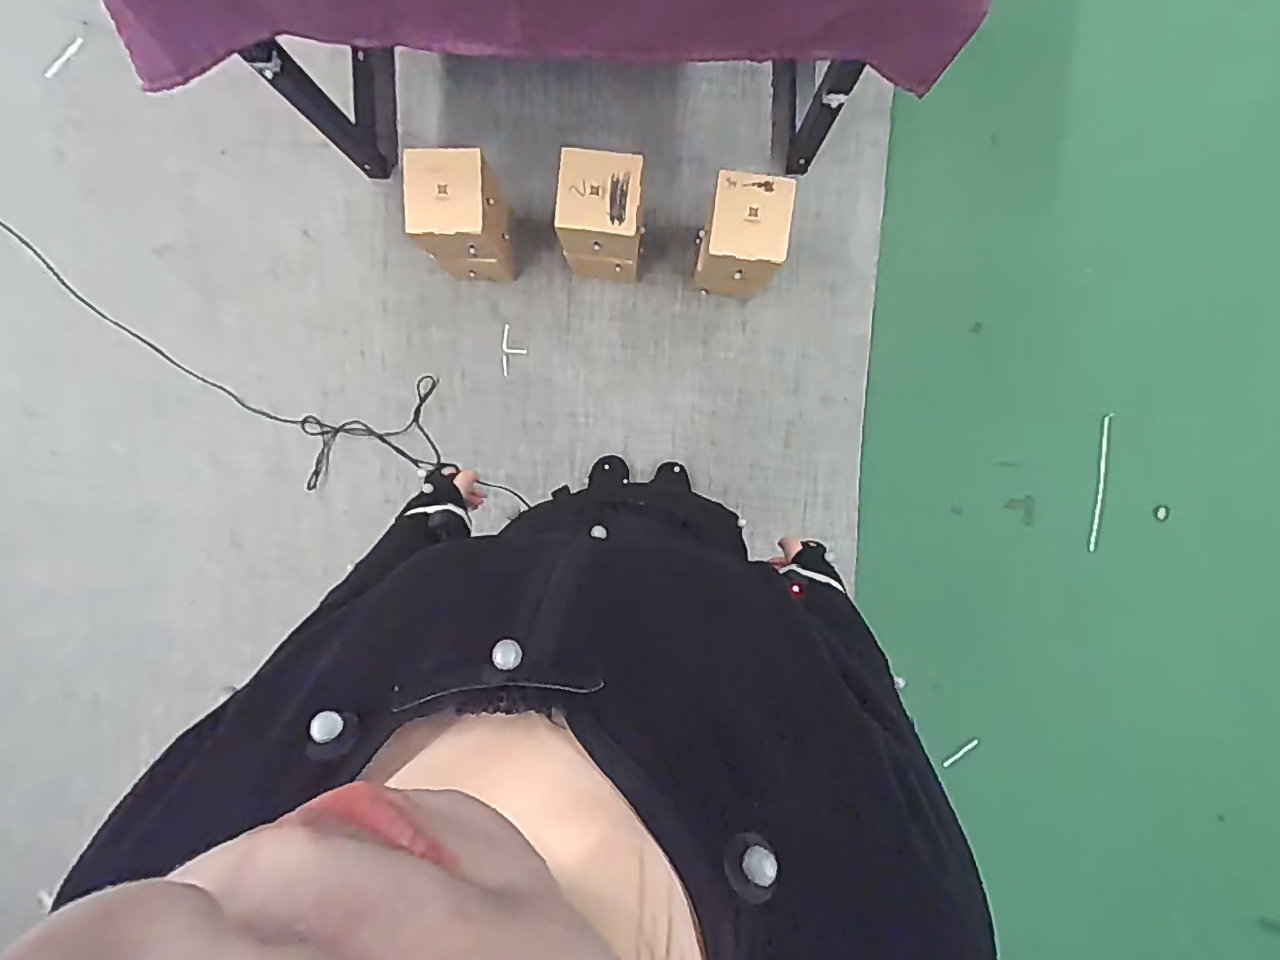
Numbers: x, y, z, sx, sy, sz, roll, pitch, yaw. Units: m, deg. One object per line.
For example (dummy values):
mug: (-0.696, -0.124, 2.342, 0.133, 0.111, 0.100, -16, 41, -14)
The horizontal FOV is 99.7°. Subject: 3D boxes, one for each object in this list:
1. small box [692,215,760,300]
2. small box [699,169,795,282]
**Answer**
small box: (0.232, -0.577, 1.380, 0.168, 0.176, 0.179, 12, 93, 0)
small box: (0.232, -0.559, 1.215, 0.168, 0.176, 0.179, 8, 96, -2)
